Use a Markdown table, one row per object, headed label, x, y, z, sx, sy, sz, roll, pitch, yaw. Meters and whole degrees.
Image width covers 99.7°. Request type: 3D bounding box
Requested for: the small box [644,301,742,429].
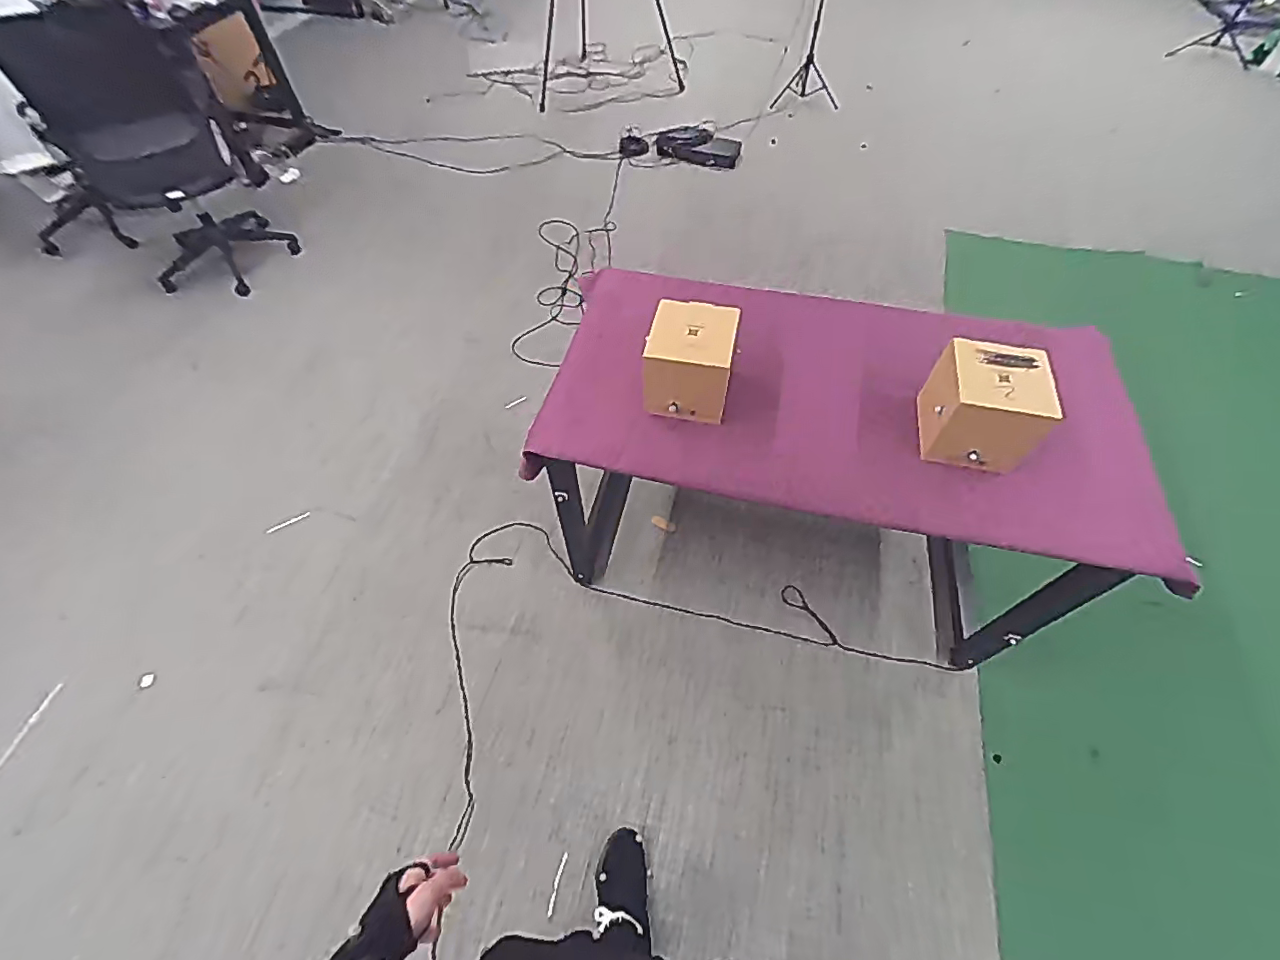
| label | x | y | z | sx | sy | sz | roll | pitch | yaw |
| --- | --- | --- | --- | --- | --- | --- | --- | --- | --- |
| small box | 0.104 | -0.233 | 1.103 | 0.168 | 0.176 | 0.179 | 11 | 56 | 8 |
